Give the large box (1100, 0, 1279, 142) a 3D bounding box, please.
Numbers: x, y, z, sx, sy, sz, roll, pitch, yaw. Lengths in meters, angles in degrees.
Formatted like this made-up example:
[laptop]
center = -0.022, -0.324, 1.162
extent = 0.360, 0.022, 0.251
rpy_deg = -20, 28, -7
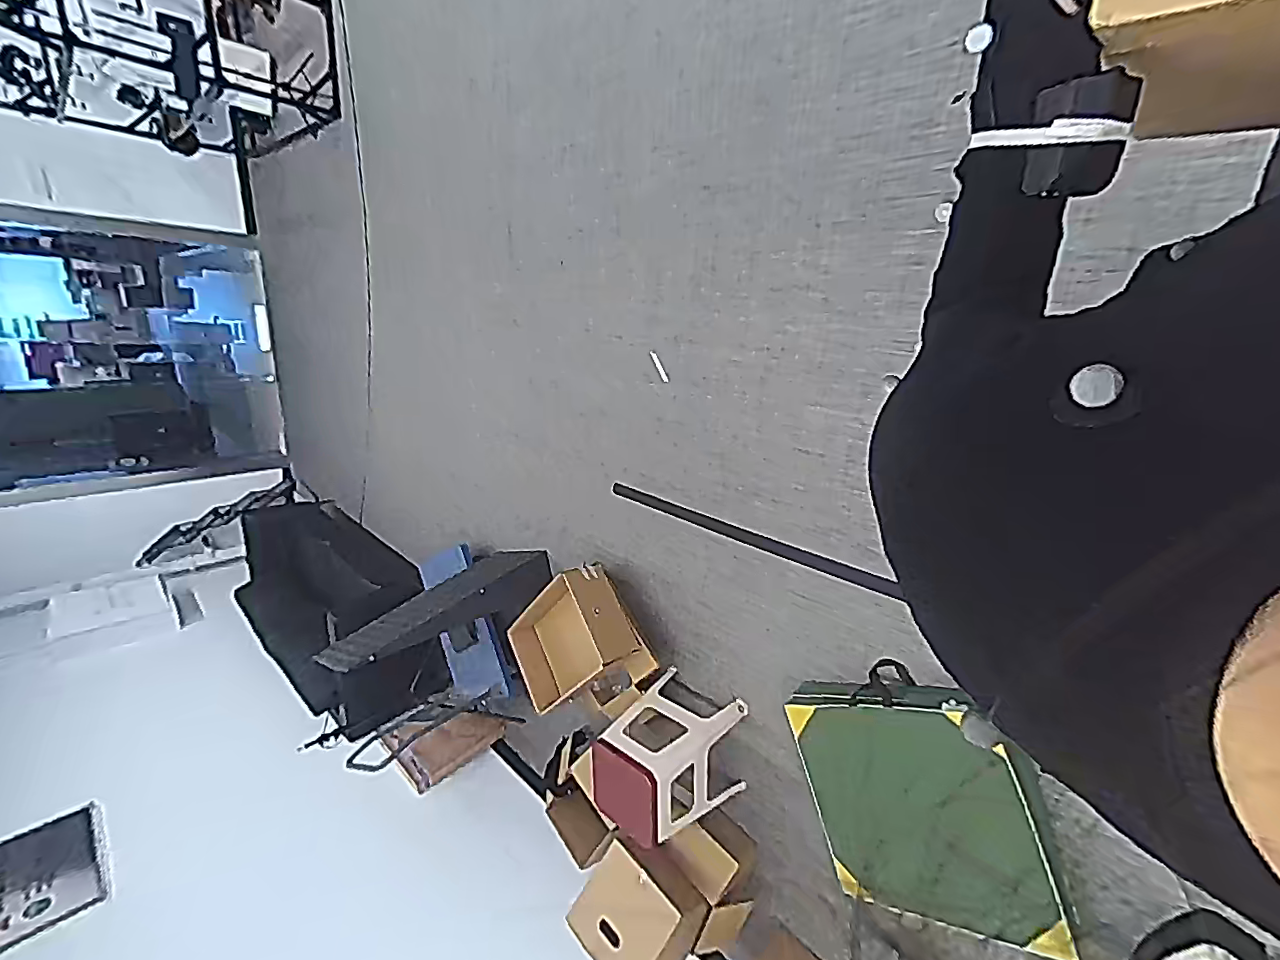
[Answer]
[large box]
center = 0.525, -0.393, 0.253
extent = 0.408, 0.320, 0.320
rpy_deg = 20, 117, 40
